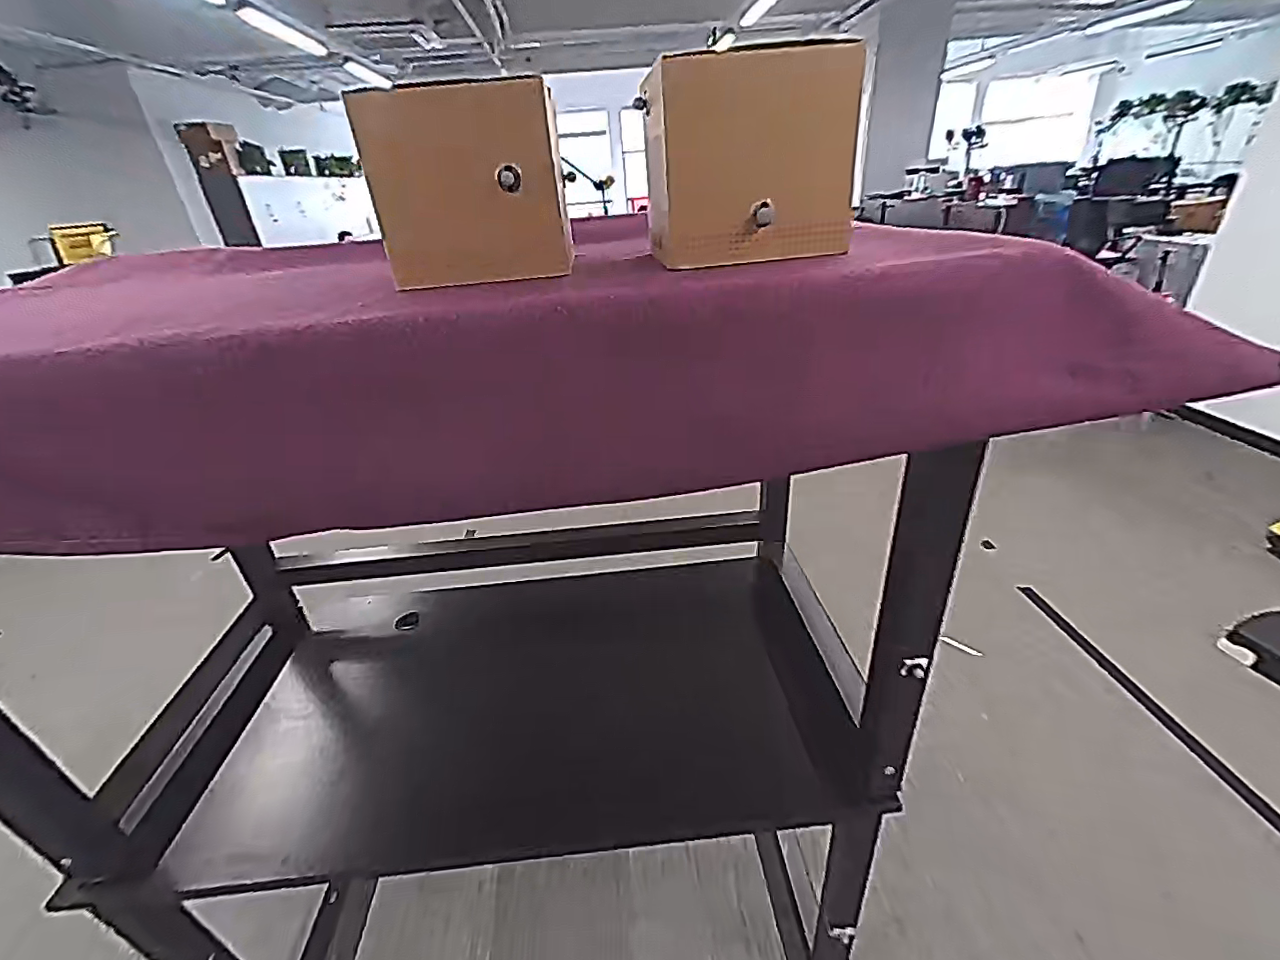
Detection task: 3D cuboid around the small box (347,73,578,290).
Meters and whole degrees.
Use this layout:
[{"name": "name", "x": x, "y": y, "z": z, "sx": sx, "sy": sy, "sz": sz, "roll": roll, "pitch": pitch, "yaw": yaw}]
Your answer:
[{"name": "small box", "x": -0.162, "y": -0.305, "z": 0.568, "sx": 0.179, "sy": 0.176, "sz": 0.168, "roll": -6, "pitch": 28, "yaw": -1}]

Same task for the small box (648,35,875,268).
[{"name": "small box", "x": 0.105, "y": -0.318, "z": 0.543, "sx": 0.179, "sy": 0.176, "sz": 0.168, "roll": -6, "pitch": 28, "yaw": -3}]
